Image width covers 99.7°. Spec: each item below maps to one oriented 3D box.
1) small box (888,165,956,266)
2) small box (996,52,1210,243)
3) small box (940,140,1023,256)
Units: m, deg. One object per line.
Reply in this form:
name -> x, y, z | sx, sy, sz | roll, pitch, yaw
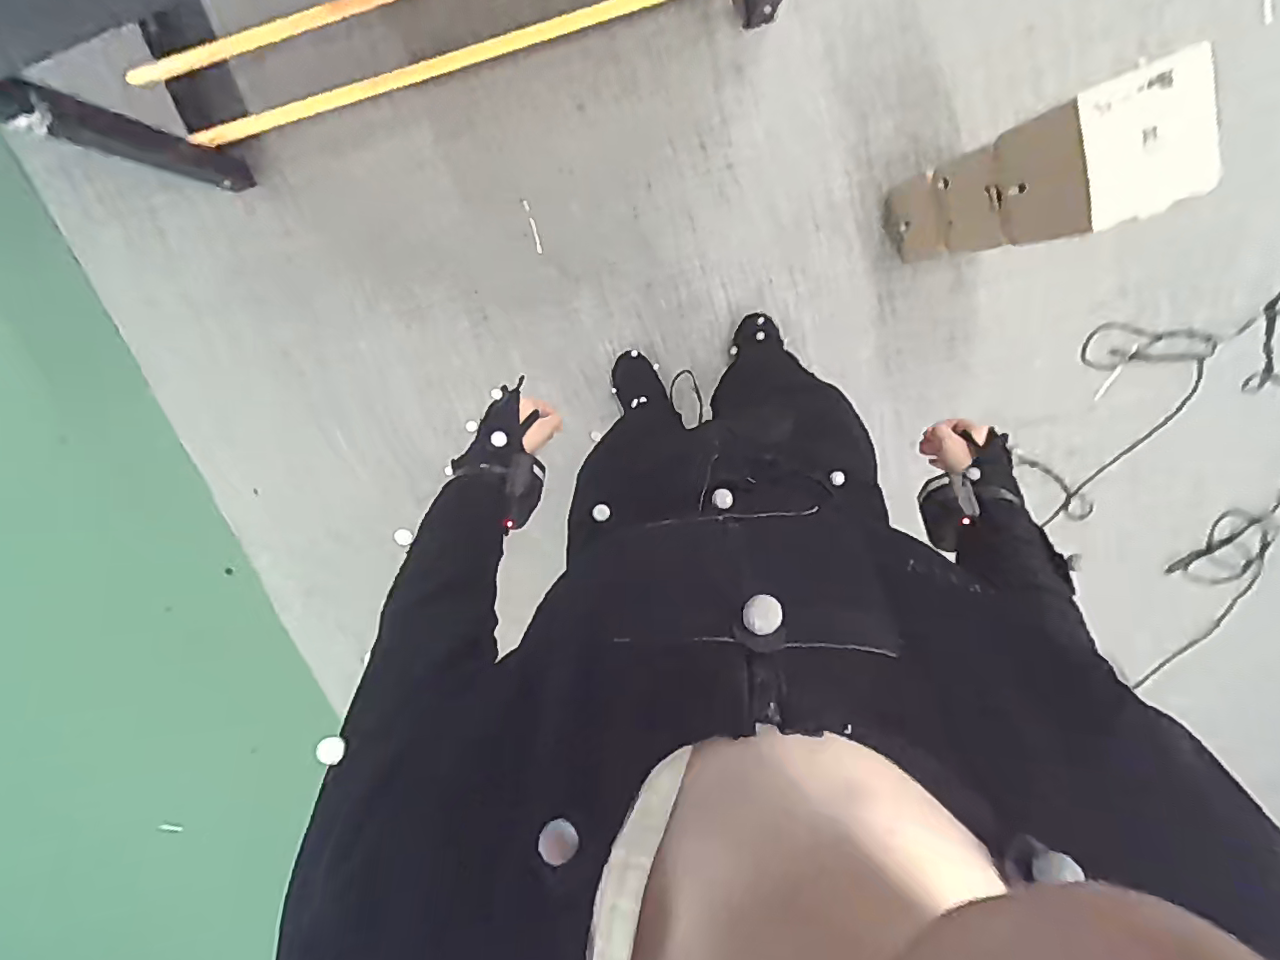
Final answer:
small box -> 0.639, -0.550, 1.098 | 0.179, 0.176, 0.168 | -20, 105, 6
small box -> 0.657, -0.459, 0.783 | 0.168, 0.176, 0.179 | -19, 107, 5
small box -> 0.652, -0.505, 0.940 | 0.179, 0.176, 0.168 | -20, 106, 5
